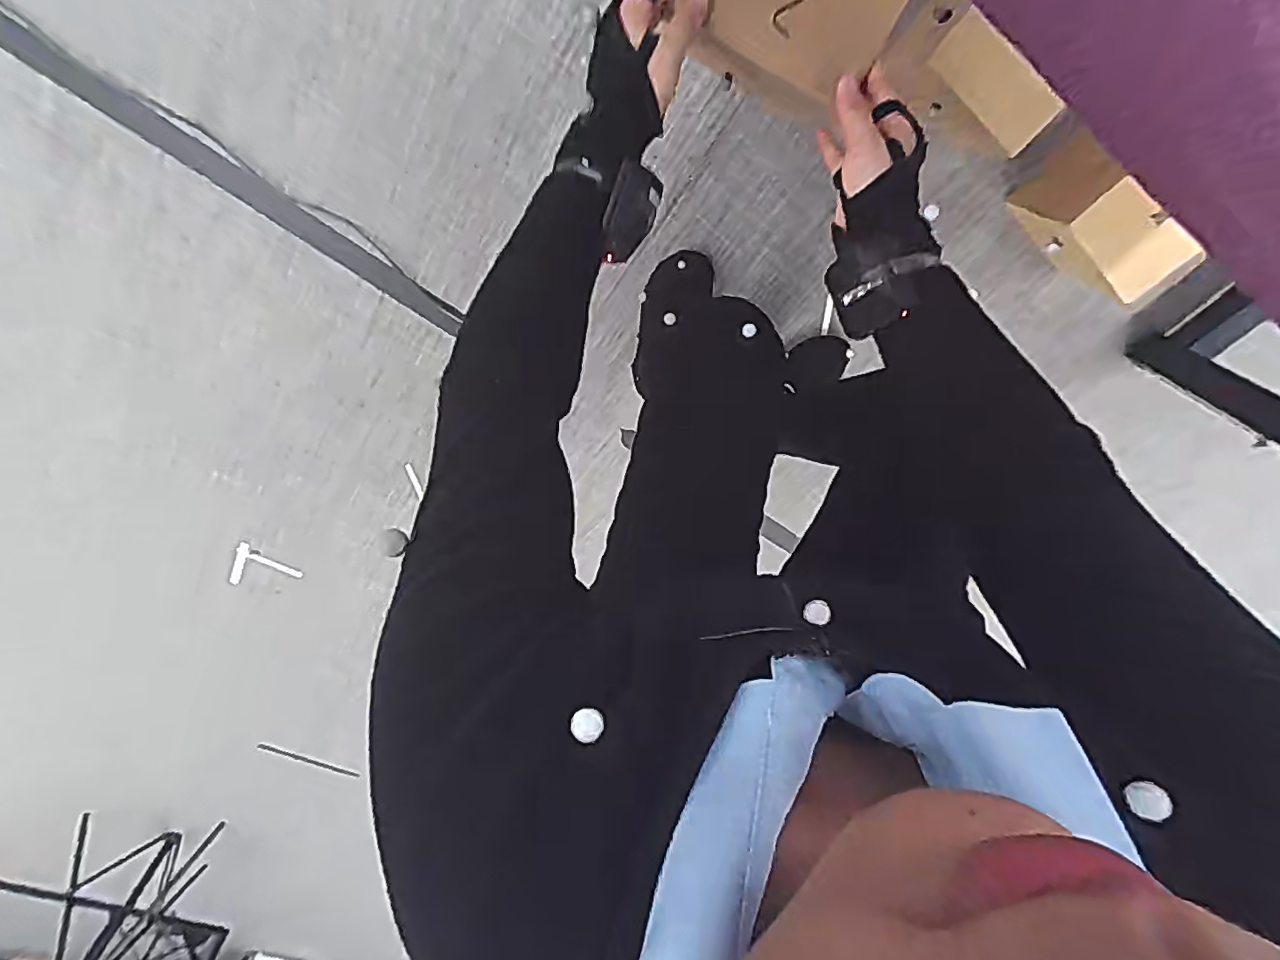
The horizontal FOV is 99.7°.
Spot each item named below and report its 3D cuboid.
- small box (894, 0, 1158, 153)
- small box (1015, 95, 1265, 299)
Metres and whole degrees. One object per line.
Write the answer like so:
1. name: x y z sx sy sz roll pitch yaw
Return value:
1. small box: 0.438 -0.537 0.653 0.168 0.176 0.179 31 121 -19
2. small box: 0.669 -0.392 0.752 0.168 0.176 0.179 34 120 -20
